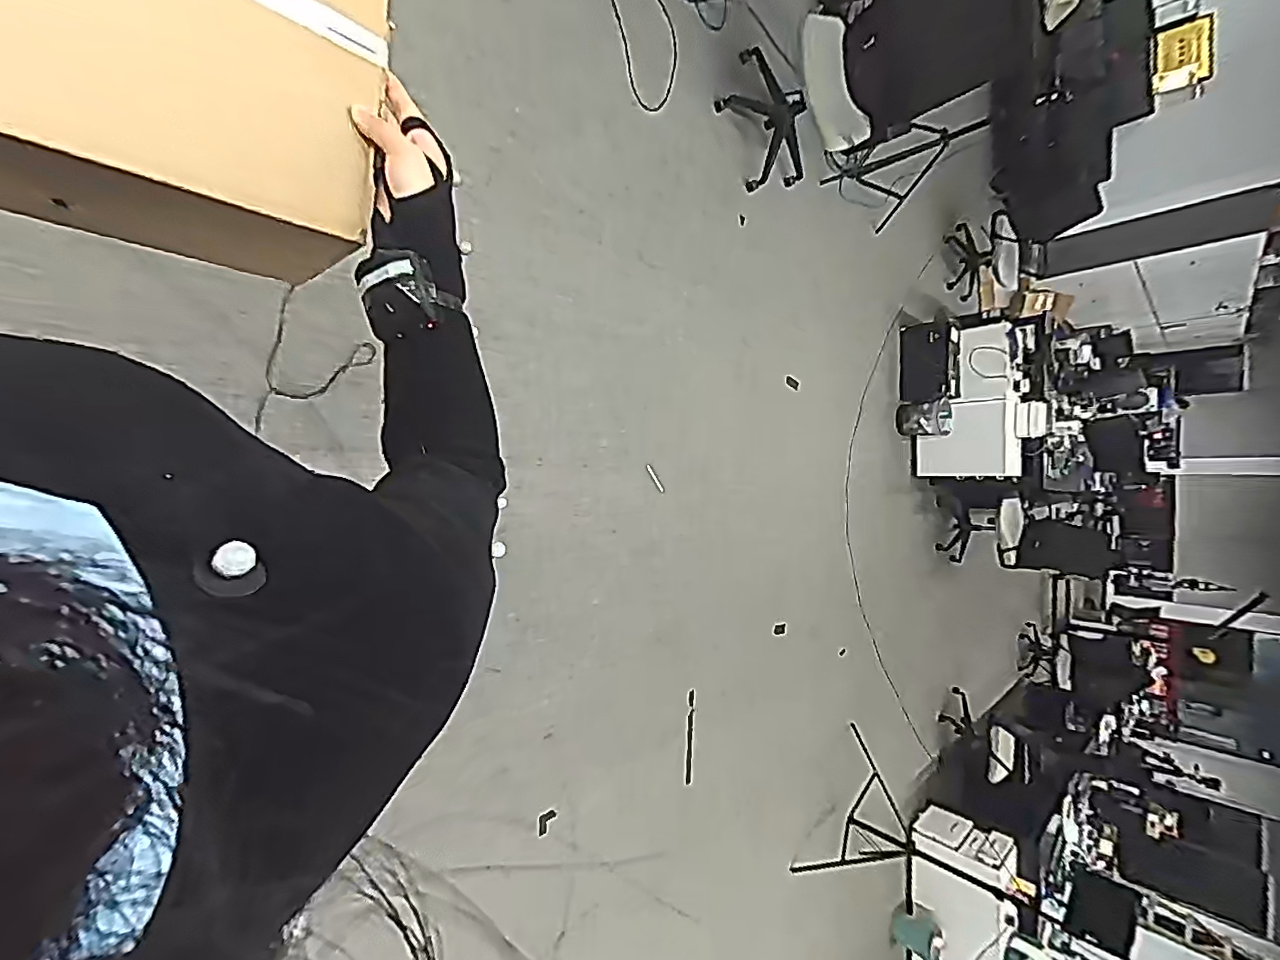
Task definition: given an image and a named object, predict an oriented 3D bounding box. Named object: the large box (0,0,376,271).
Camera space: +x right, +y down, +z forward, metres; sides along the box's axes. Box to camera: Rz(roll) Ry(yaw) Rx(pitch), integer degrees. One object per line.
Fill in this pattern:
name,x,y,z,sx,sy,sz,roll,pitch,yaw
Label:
large box,-0.477,-0.399,0.452,0.408,0.320,0.320,3,96,-42
